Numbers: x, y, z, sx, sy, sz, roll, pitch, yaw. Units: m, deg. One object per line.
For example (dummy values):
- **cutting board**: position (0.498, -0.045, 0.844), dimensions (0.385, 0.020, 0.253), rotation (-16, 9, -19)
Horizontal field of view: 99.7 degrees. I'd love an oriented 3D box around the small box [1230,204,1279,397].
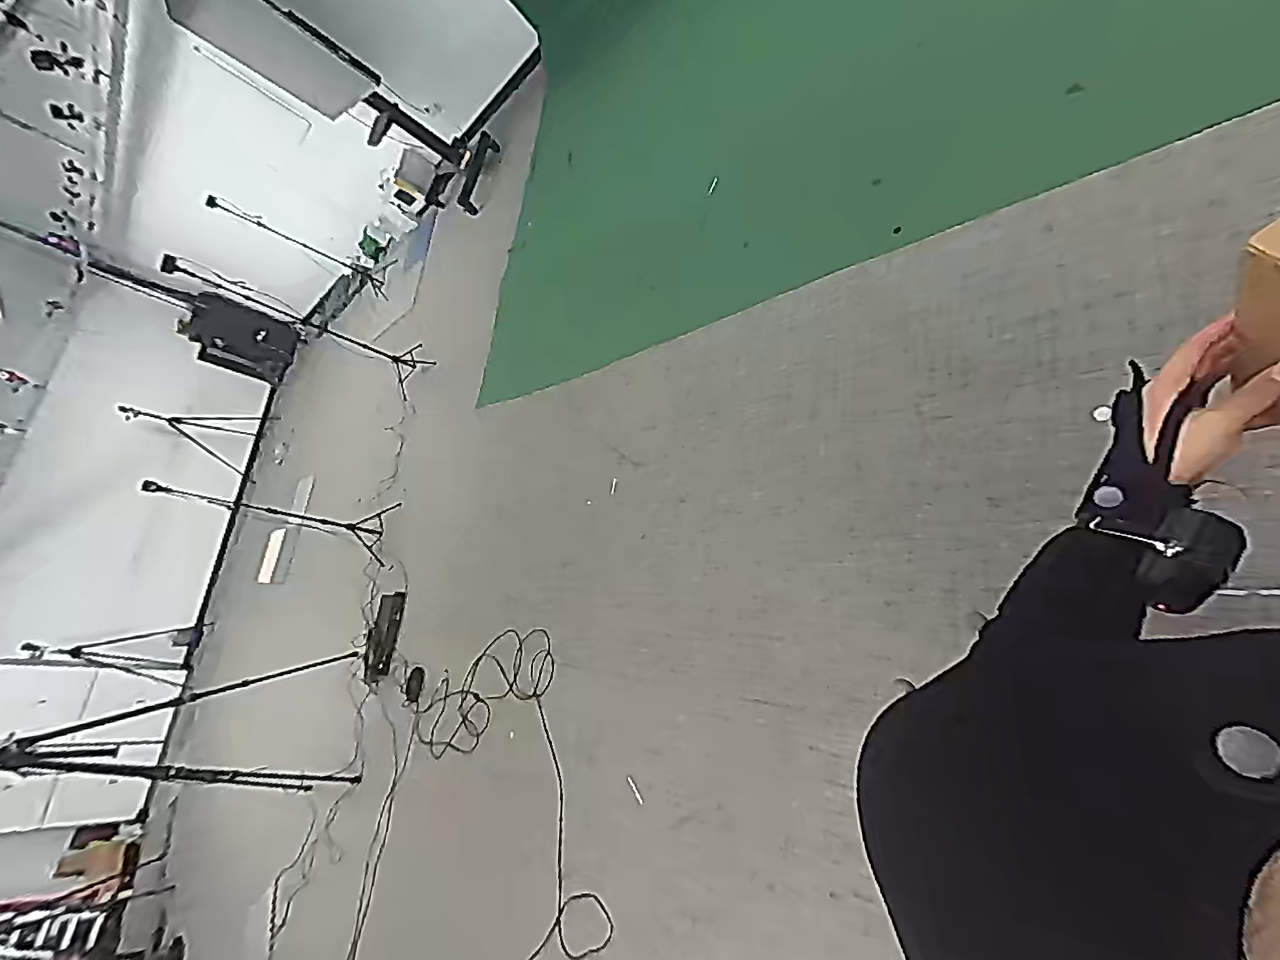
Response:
- **small box**: position (0.487, -0.103, 0.287), dimensions (0.179, 0.176, 0.168), rotation (-38, 43, 24)
